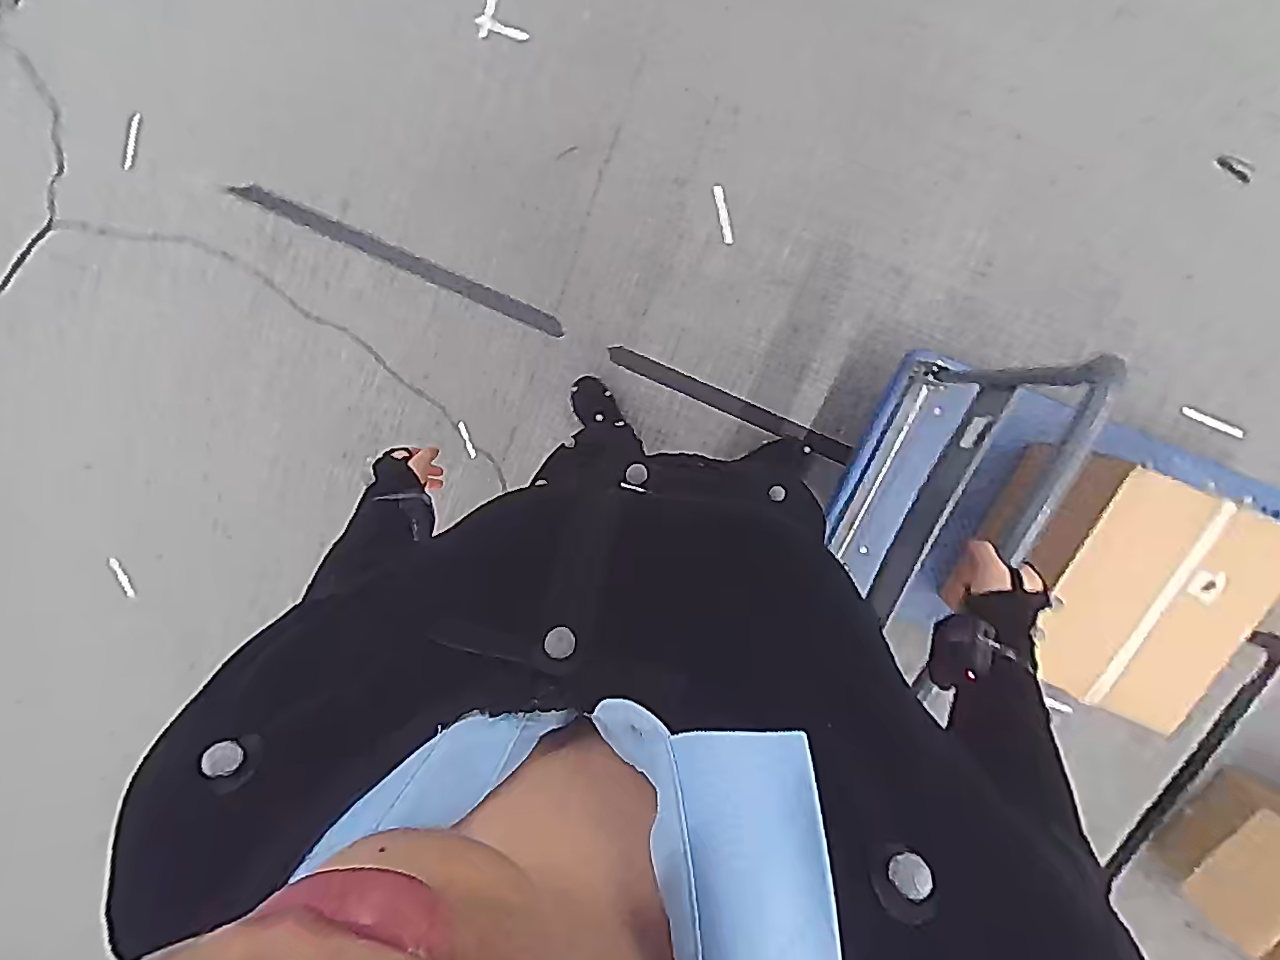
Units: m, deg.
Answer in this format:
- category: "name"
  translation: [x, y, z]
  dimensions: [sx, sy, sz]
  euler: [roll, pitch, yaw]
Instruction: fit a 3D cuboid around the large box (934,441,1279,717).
- category: "large box"
  translation: [0.886, 0.173, 1.096]
  dimensions: [0.320, 0.320, 0.408]
  euler: [24, 102, 2]
